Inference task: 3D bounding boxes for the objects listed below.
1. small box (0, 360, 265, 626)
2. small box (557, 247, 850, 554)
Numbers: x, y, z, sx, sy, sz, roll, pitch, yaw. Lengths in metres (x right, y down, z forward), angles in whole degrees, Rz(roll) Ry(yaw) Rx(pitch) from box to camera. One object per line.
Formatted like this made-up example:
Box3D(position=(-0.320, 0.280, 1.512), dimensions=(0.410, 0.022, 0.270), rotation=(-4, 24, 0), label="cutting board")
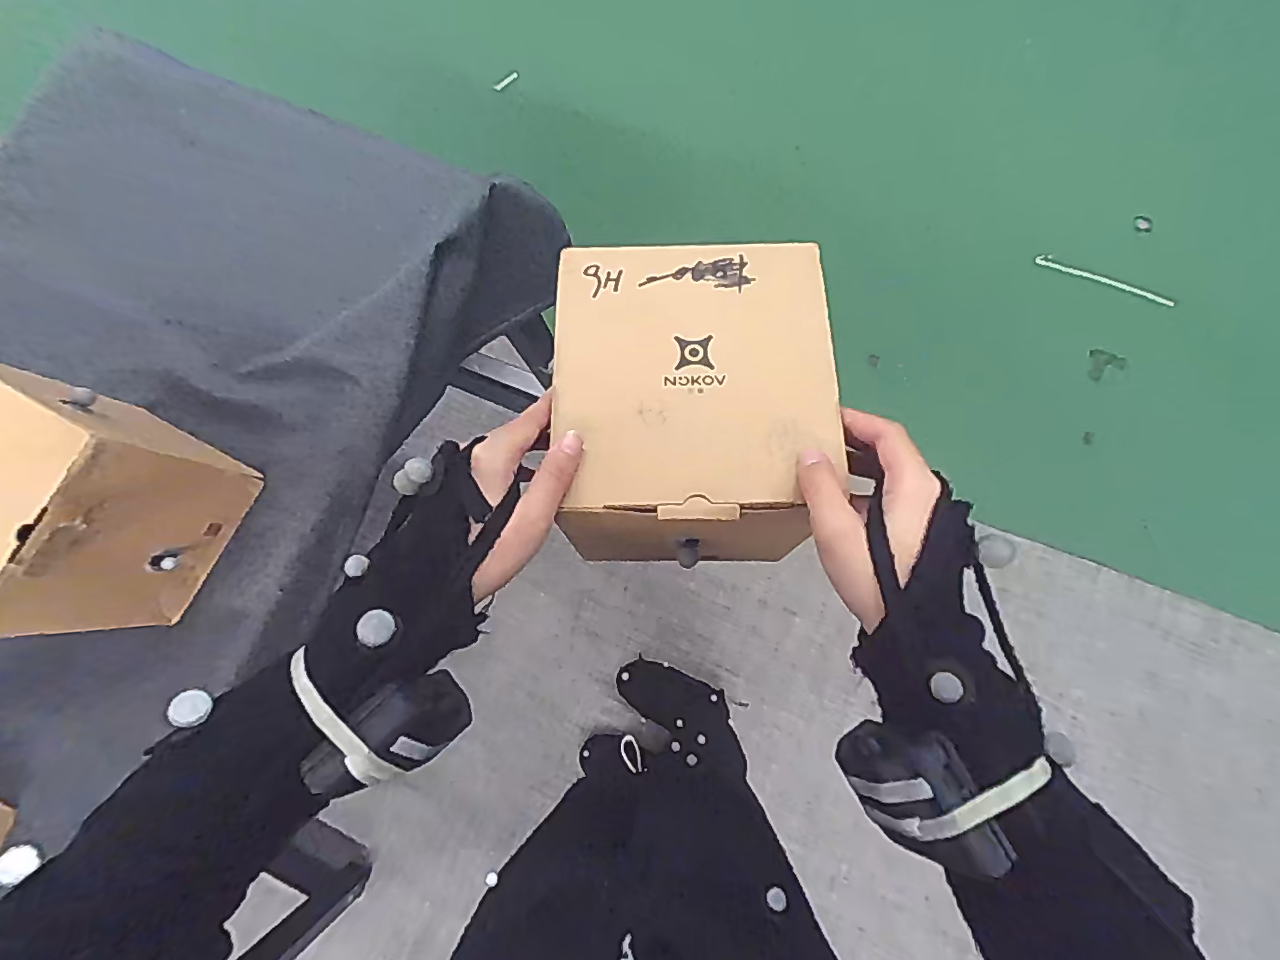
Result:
Box3D(position=(-0.496, 0.018, 0.477), dimensions=(0.179, 0.176, 0.168), rotation=(26, 81, 9), label="small box")
Box3D(position=(0.038, -0.041, 0.399), dimensions=(0.168, 0.176, 0.179), rotation=(-1, 72, 1), label="small box")
